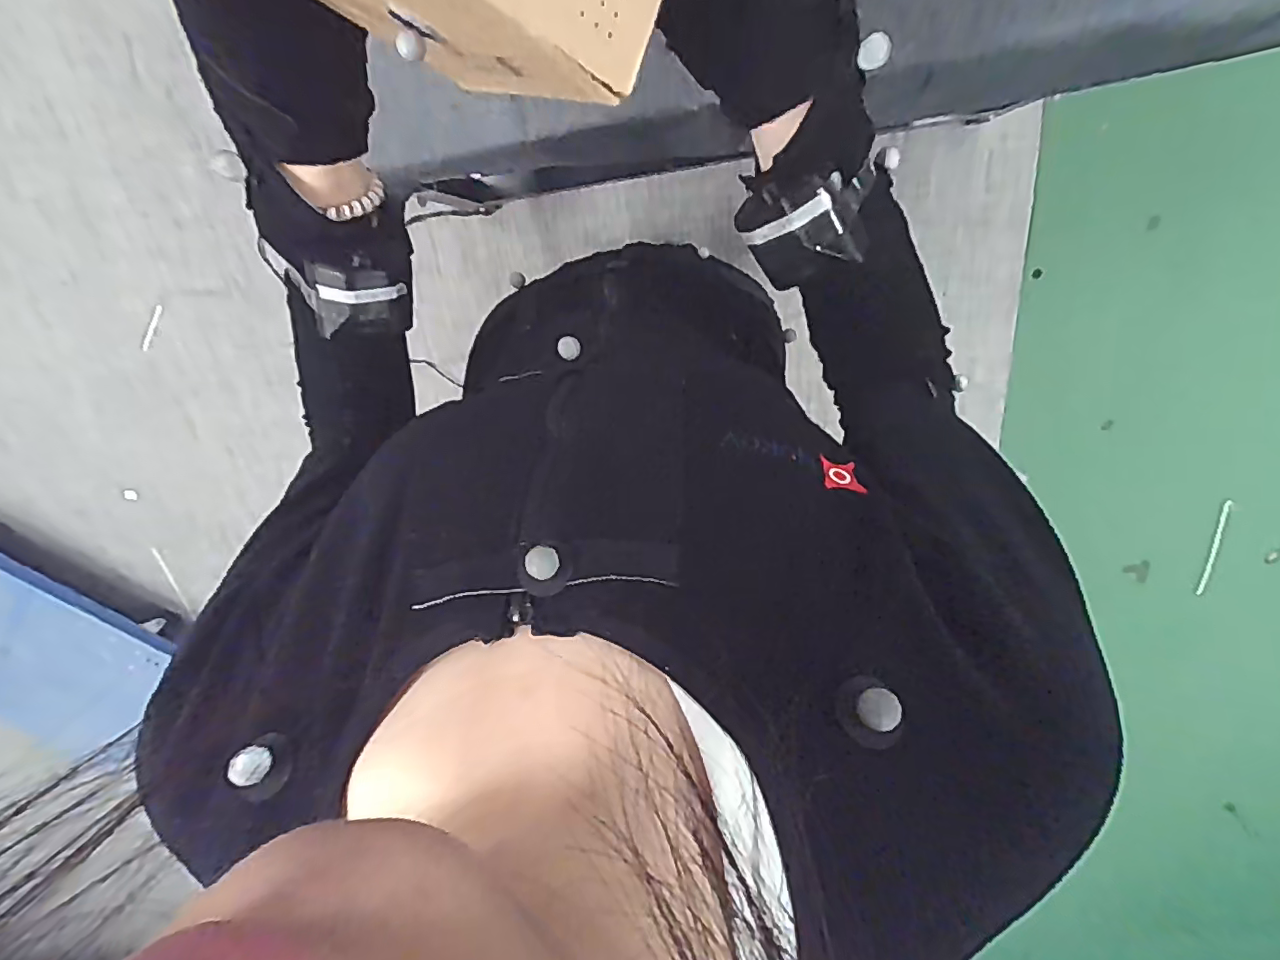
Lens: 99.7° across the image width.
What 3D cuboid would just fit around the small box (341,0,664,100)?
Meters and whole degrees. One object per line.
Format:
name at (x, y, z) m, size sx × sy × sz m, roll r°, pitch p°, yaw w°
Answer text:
small box at (-0.077, -0.271, 0.183) m, size 0.176 × 0.168 × 0.179 m, roll 0°, pitch 119°, yaw -45°
